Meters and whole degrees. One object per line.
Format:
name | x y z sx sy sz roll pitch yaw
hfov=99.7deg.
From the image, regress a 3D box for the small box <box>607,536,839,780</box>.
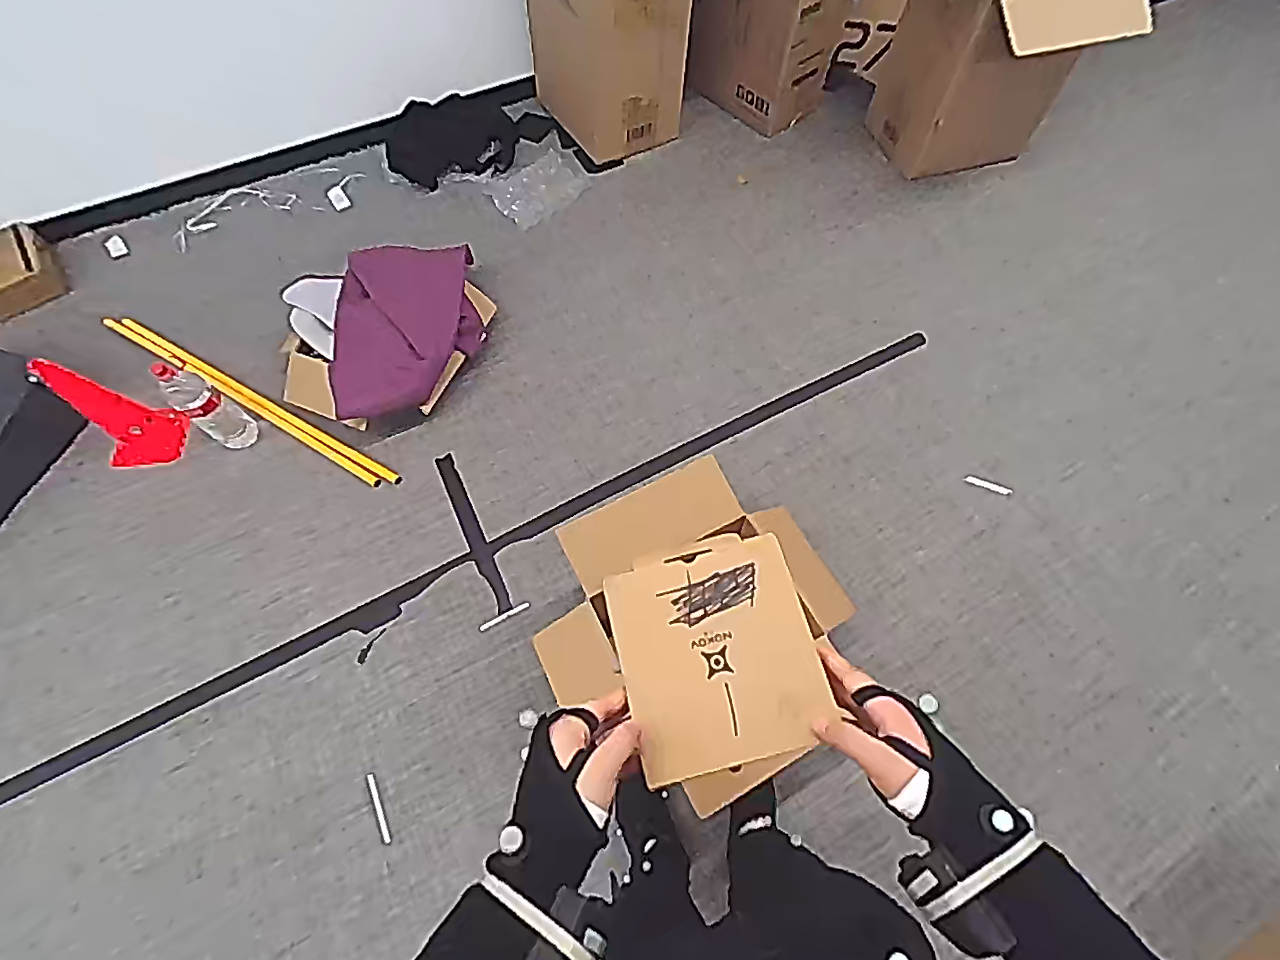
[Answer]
small box | 0.071 0.178 0.543 0.168 0.176 0.179 -15 67 -1
